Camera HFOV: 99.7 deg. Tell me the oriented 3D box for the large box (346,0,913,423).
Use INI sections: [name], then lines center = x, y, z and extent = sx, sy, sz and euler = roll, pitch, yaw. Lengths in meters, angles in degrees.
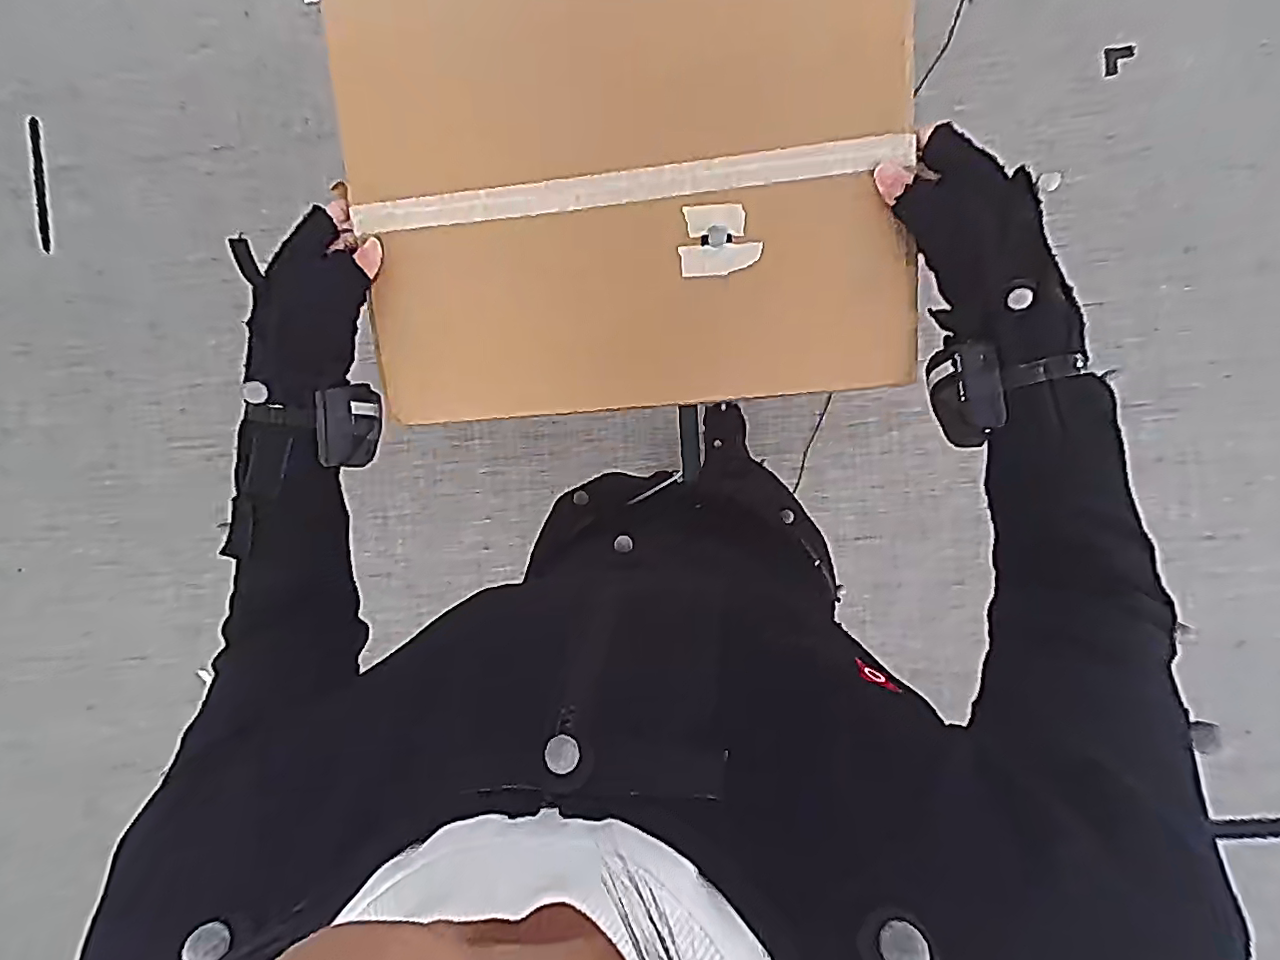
[large box]
center = 0.003, -0.238, 0.548
extent = 0.408, 0.320, 0.320
euler = -5, 99, 5
